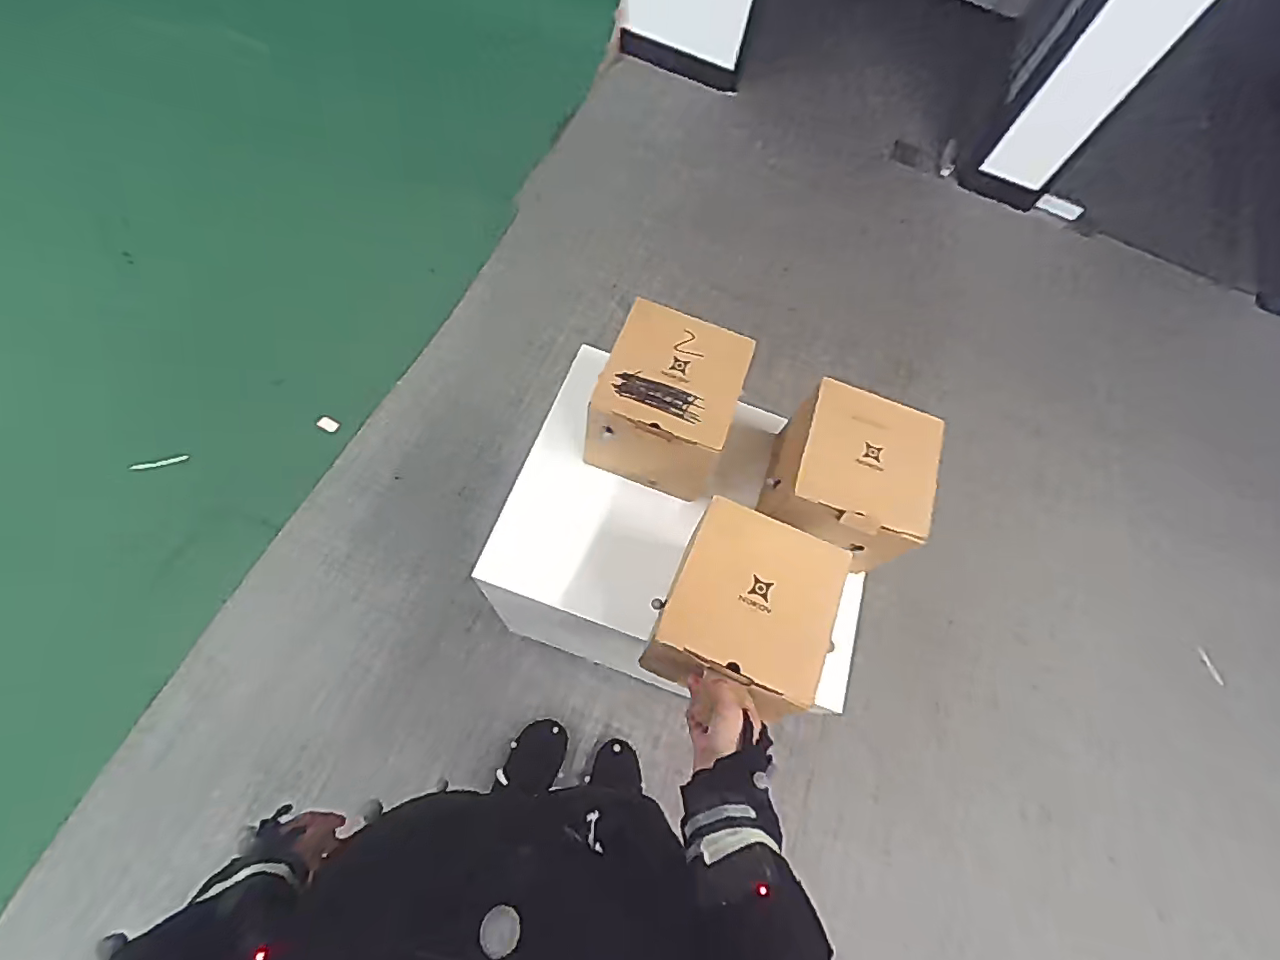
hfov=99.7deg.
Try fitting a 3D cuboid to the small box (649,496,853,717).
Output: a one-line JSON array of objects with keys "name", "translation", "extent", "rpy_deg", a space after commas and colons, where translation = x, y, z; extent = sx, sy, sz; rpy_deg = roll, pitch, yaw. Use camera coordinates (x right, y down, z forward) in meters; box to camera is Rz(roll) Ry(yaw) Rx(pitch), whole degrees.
[{"name": "small box", "translation": [0.118, 0.153, 0.626], "extent": [0.168, 0.176, 0.179], "rpy_deg": [23, 63, 6]}]

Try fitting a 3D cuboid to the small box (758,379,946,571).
[{"name": "small box", "translation": [0.271, 0.003, 0.721], "extent": [0.168, 0.176, 0.179], "rpy_deg": [21, 66, 0]}]
